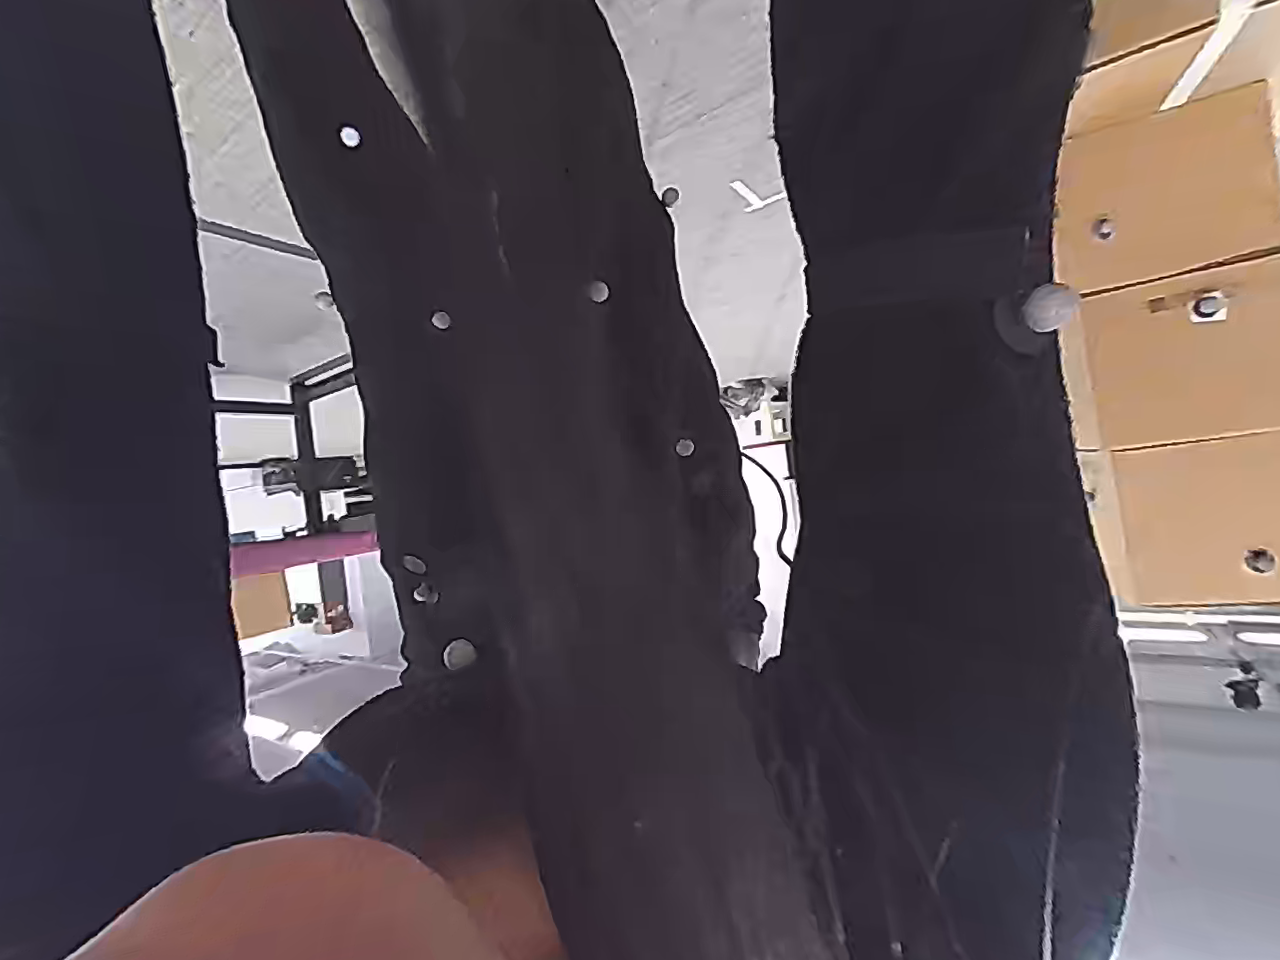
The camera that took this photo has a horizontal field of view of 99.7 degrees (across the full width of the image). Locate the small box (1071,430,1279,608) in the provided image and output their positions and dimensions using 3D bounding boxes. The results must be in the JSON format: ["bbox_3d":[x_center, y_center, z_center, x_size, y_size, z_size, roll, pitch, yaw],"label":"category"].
[{"bbox_3d":[0.615,0.033,0.597,0.179,0.176,0.168,-9,179,27],"label":"small box"}]

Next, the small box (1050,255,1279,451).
[{"bbox_3d":[0.583,-0.128,0.607,0.168,0.176,0.179,-9,178,29],"label":"small box"}]
